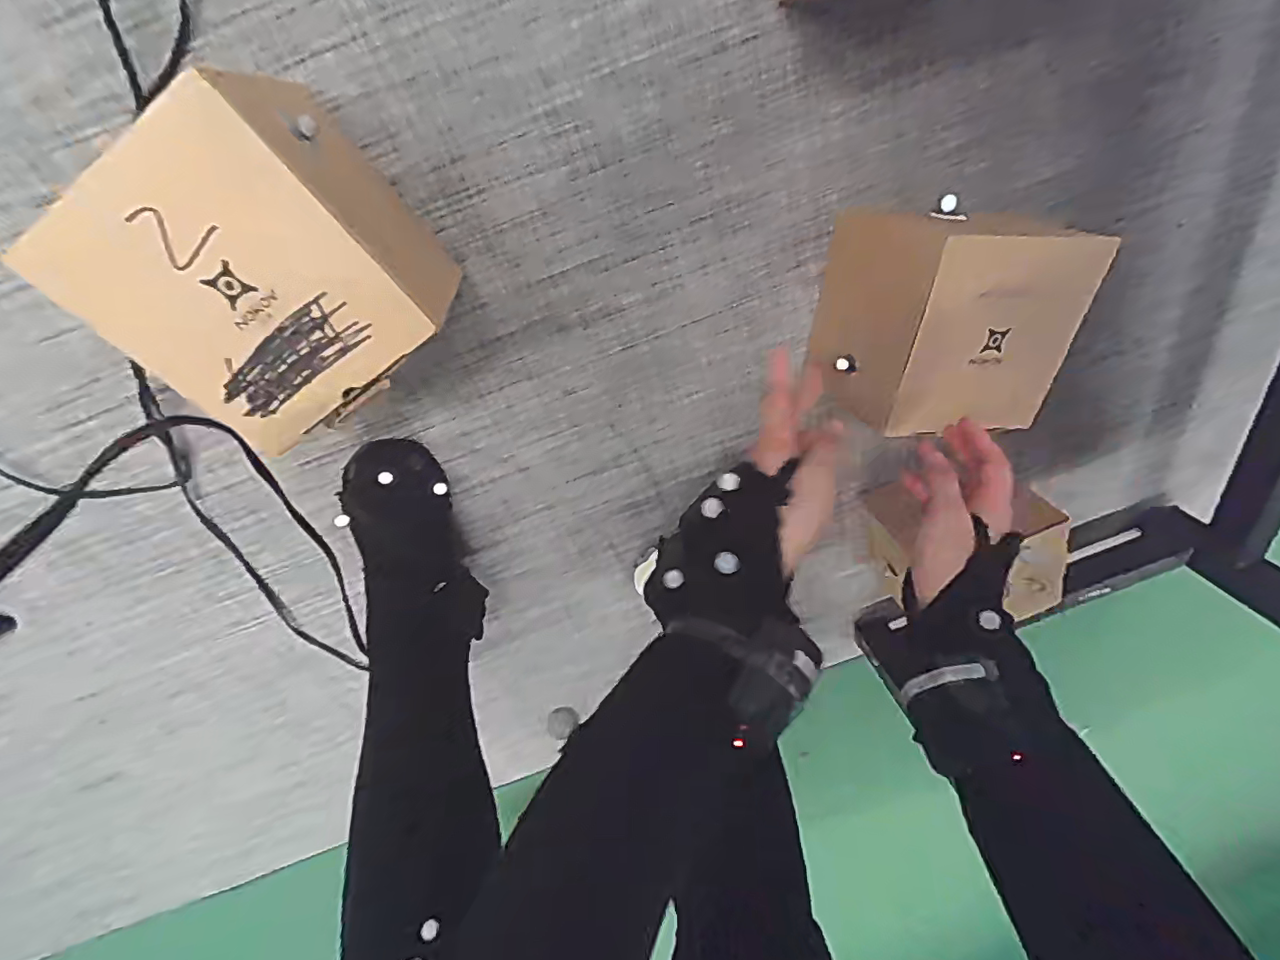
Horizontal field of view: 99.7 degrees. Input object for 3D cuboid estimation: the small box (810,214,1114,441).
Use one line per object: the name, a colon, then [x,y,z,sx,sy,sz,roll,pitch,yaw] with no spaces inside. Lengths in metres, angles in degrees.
small box: [0.289,-0.156,0.536,0.168,0.176,0.179,-5,122,-11]

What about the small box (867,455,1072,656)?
small box: [0.429,0.097,0.731,0.179,0.176,0.168,-25,125,4]
